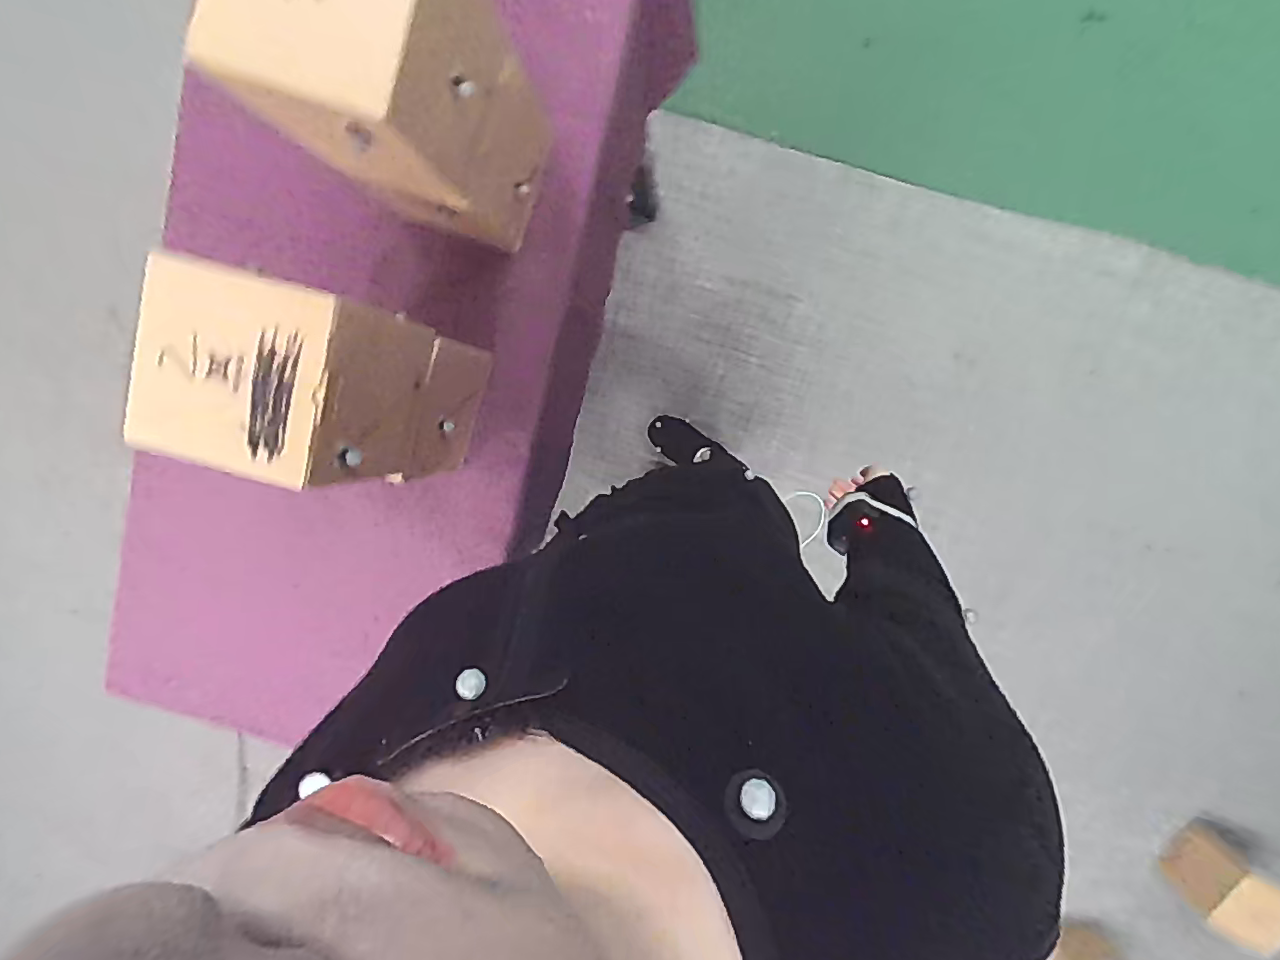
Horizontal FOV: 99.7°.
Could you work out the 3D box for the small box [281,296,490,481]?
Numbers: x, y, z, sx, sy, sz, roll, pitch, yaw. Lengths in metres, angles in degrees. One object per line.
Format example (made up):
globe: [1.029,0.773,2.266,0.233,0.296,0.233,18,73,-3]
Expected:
small box: [-0.315,-0.114,0.702,0.168,0.176,0.179,18,98,3]

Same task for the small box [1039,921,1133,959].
small box: [1.213,1.327,1.442,0.179,0.176,0.168,-1,95,6]

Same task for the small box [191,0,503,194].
small box: [-0.249,-0.395,0.500,0.179,0.176,0.168,18,97,3]

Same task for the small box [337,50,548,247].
small box: [-0.235,-0.411,0.664,0.179,0.176,0.168,20,97,2]

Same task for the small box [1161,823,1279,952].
small box: [1.523,1.030,1.383,0.179,0.176,0.168,30,97,1]
